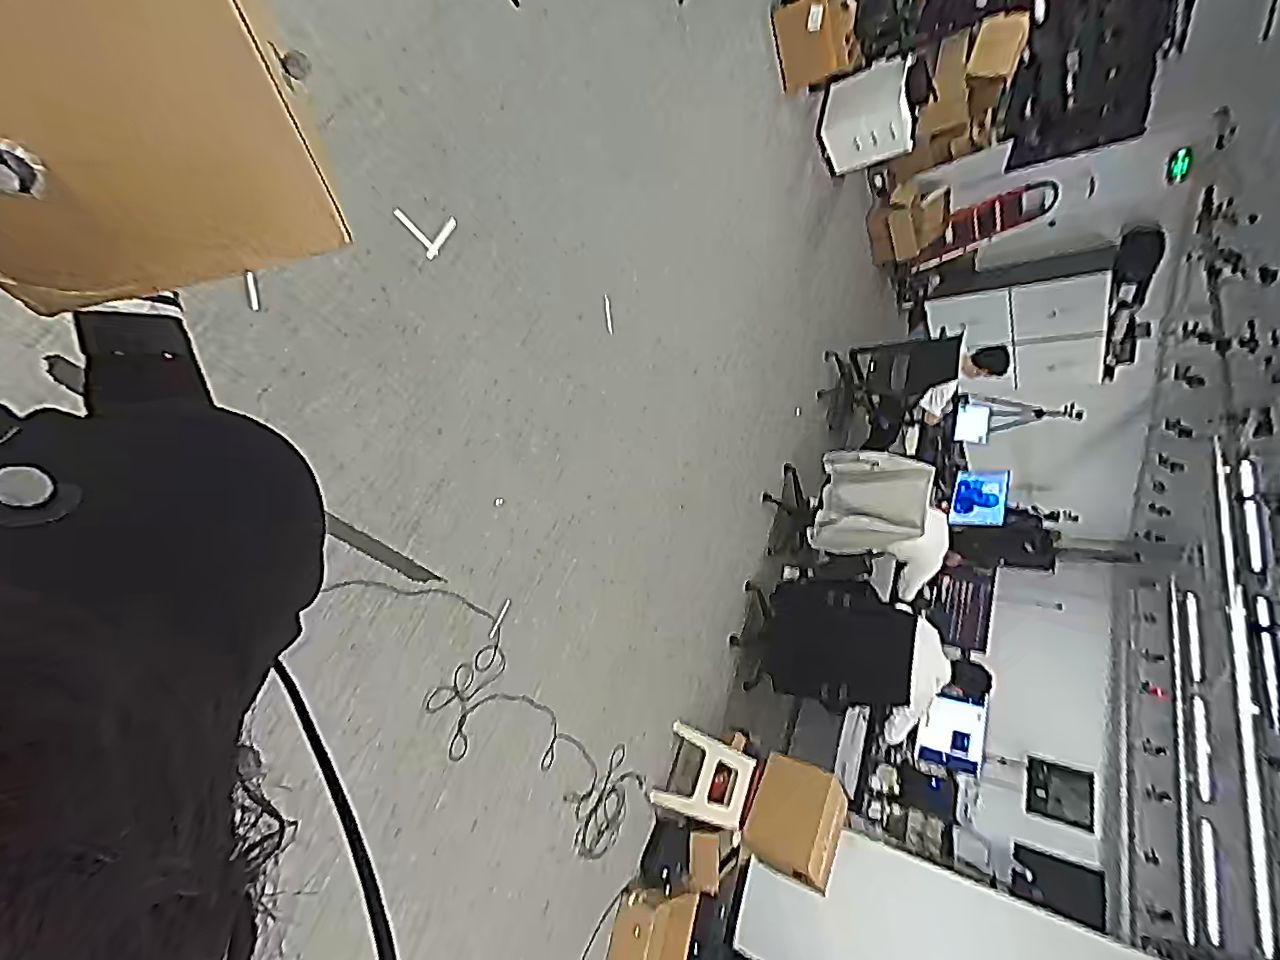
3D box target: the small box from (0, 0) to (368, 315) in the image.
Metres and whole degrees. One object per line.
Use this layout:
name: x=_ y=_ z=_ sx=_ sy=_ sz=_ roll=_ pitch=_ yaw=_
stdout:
small box: x=-0.263 y=-0.220 z=0.267 sx=0.168 sy=0.176 sz=0.179 roll=-19 pitch=66 yaw=-15
